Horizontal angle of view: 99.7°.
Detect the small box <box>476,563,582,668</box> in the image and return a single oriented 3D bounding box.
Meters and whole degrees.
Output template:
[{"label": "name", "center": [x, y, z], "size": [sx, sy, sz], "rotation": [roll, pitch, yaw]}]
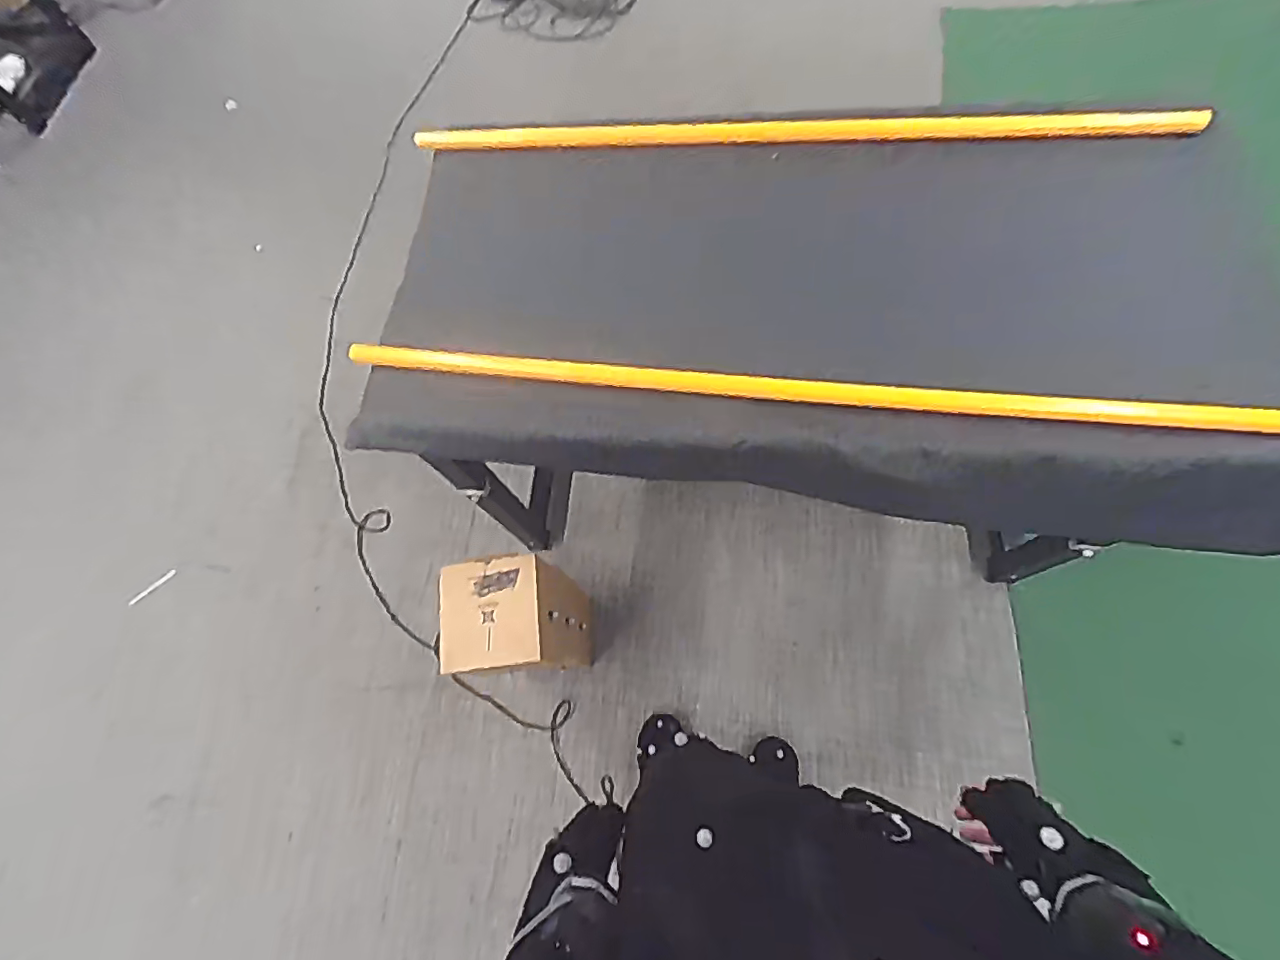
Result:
[{"label": "small box", "center": [-0.223, 0.286, 1.117], "size": [0.168, 0.176, 0.179], "rotation": [-12, 67, 4]}]
